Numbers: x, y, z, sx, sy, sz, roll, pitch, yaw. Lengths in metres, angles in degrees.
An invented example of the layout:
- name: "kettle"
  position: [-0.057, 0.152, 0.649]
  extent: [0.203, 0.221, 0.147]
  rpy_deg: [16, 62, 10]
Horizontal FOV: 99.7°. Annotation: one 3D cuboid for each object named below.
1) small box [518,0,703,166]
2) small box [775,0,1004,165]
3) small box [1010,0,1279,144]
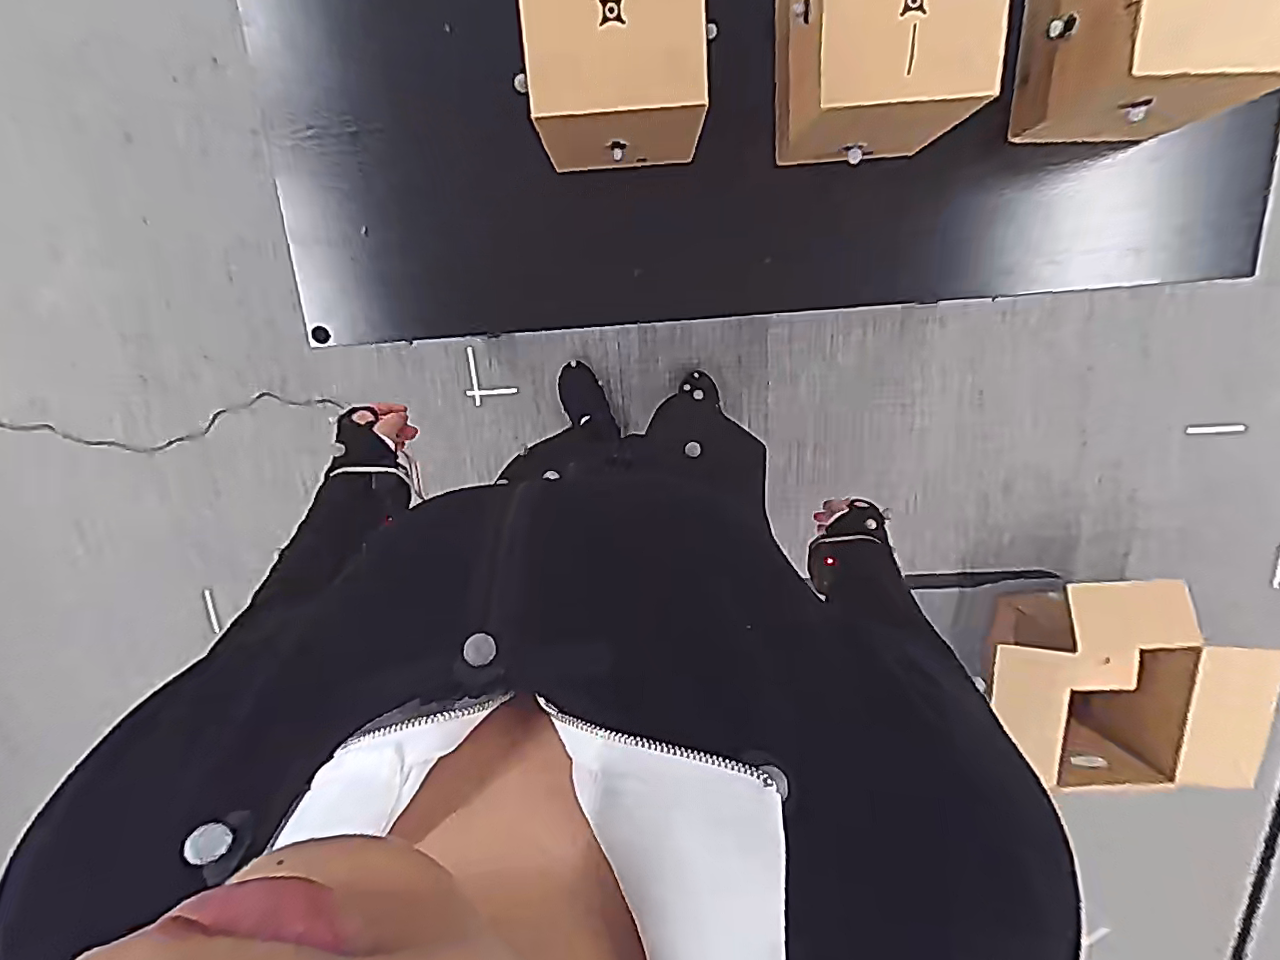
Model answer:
- name: "small box"
  position: [-0.026, -0.440, 0.555]
  extent: [0.168, 0.176, 0.179]
  rpy_deg: [-4, 104, 0]
- name: "small box"
  position: [0.239, -0.449, 0.554]
  extent: [0.168, 0.176, 0.179]
  rpy_deg: [-3, 105, 1]
- name: "small box"
  position: [0.520, -0.463, 0.551]
  extent: [0.179, 0.176, 0.168]
  rpy_deg: [-1, 104, 2]
